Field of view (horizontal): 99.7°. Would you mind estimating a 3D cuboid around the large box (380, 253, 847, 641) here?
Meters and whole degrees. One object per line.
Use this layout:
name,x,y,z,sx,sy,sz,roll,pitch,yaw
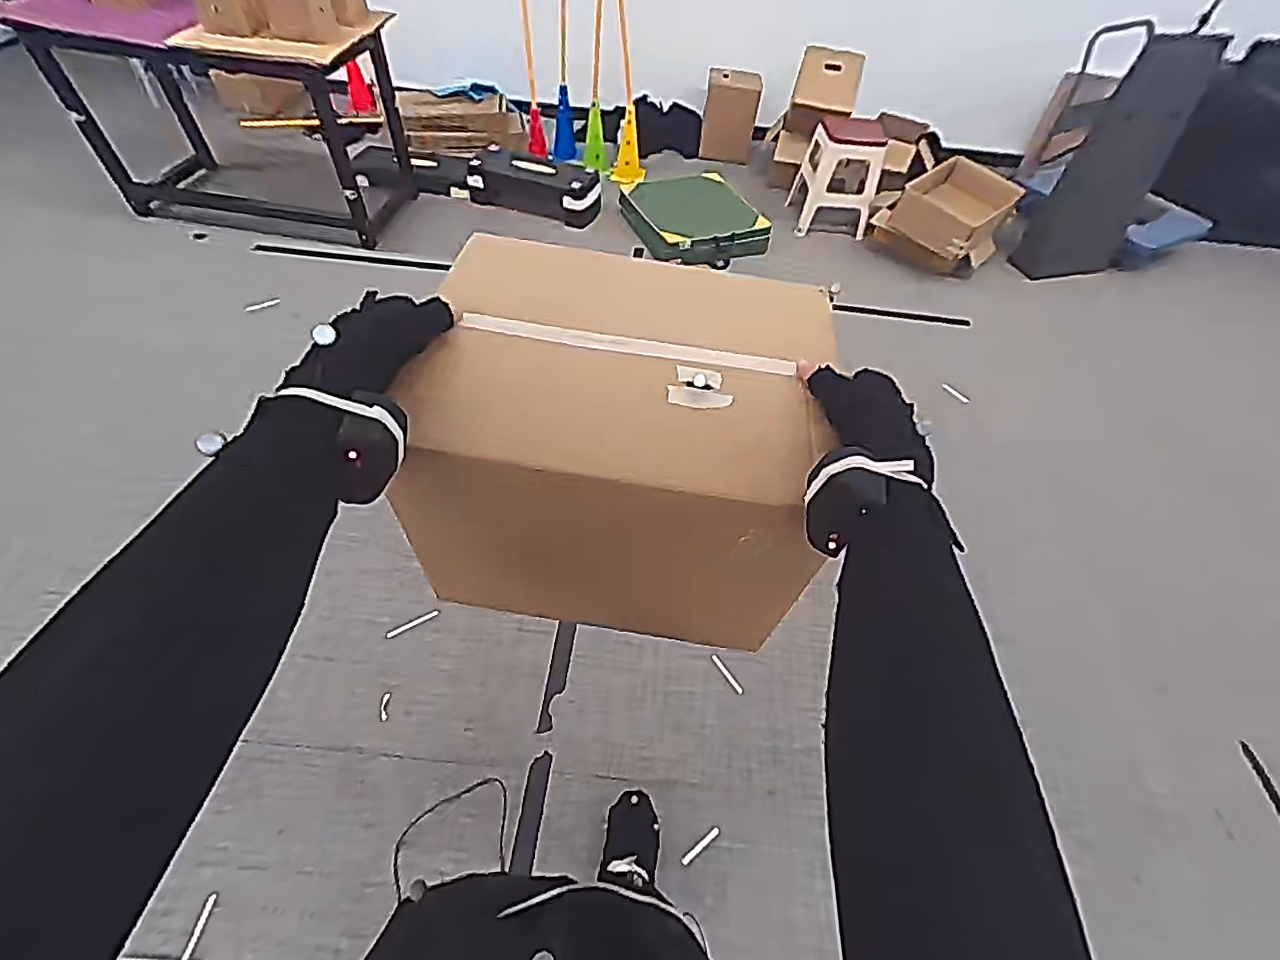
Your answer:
large box,-0.022,-0.028,0.655,0.408,0.320,0.320,9,54,0
